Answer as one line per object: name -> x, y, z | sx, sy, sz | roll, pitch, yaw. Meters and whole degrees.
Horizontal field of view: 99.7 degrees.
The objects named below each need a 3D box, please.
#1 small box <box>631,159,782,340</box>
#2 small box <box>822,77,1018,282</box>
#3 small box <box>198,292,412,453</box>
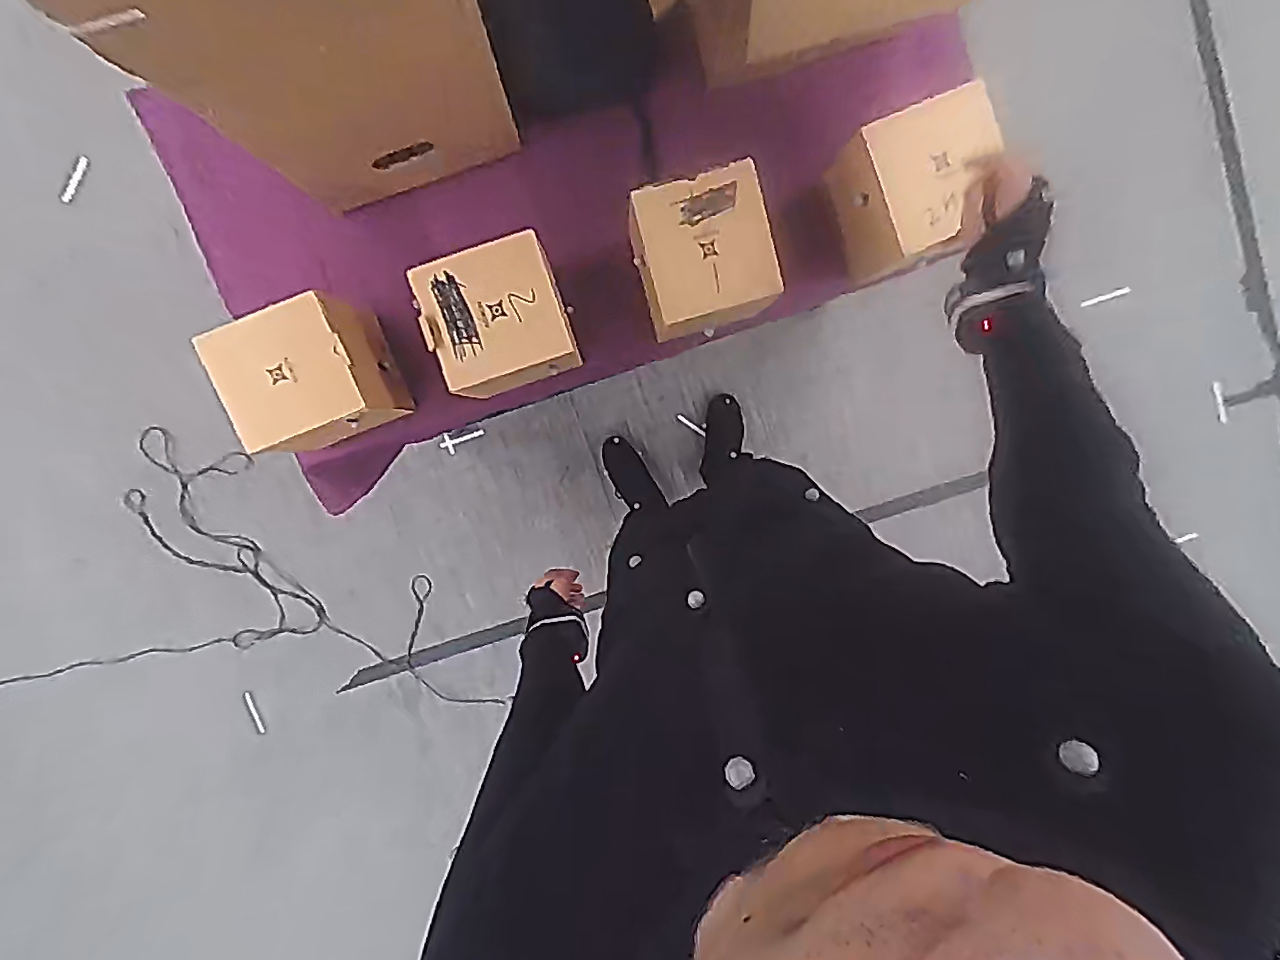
small box -> 0.085, -0.317, 0.780 | 0.168, 0.176, 0.179 | -16, 97, 1
small box -> 0.384, -0.412, 0.774 | 0.168, 0.176, 0.179 | -22, 97, 2
small box -> -0.470, -0.147, 0.788 | 0.179, 0.176, 0.168 | -22, 97, 0
